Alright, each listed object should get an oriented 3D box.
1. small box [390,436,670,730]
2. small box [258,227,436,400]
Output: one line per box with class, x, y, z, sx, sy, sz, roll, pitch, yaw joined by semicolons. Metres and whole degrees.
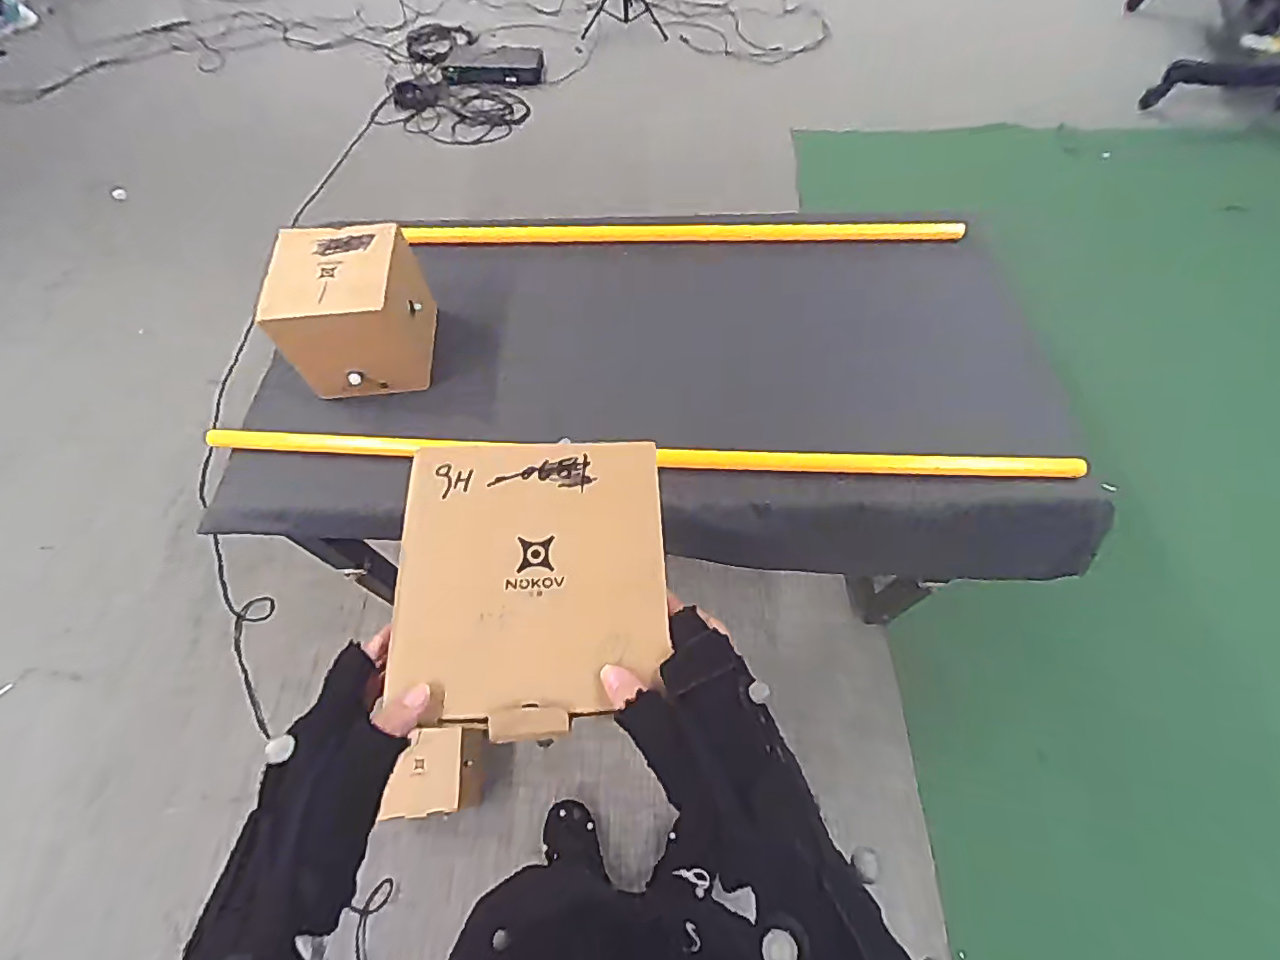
small box;-0.070;0.086;0.415;0.168;0.176;0.179;-5;66;-4
small box;-0.414;-0.242;0.802;0.168;0.176;0.179;-6;62;-2
